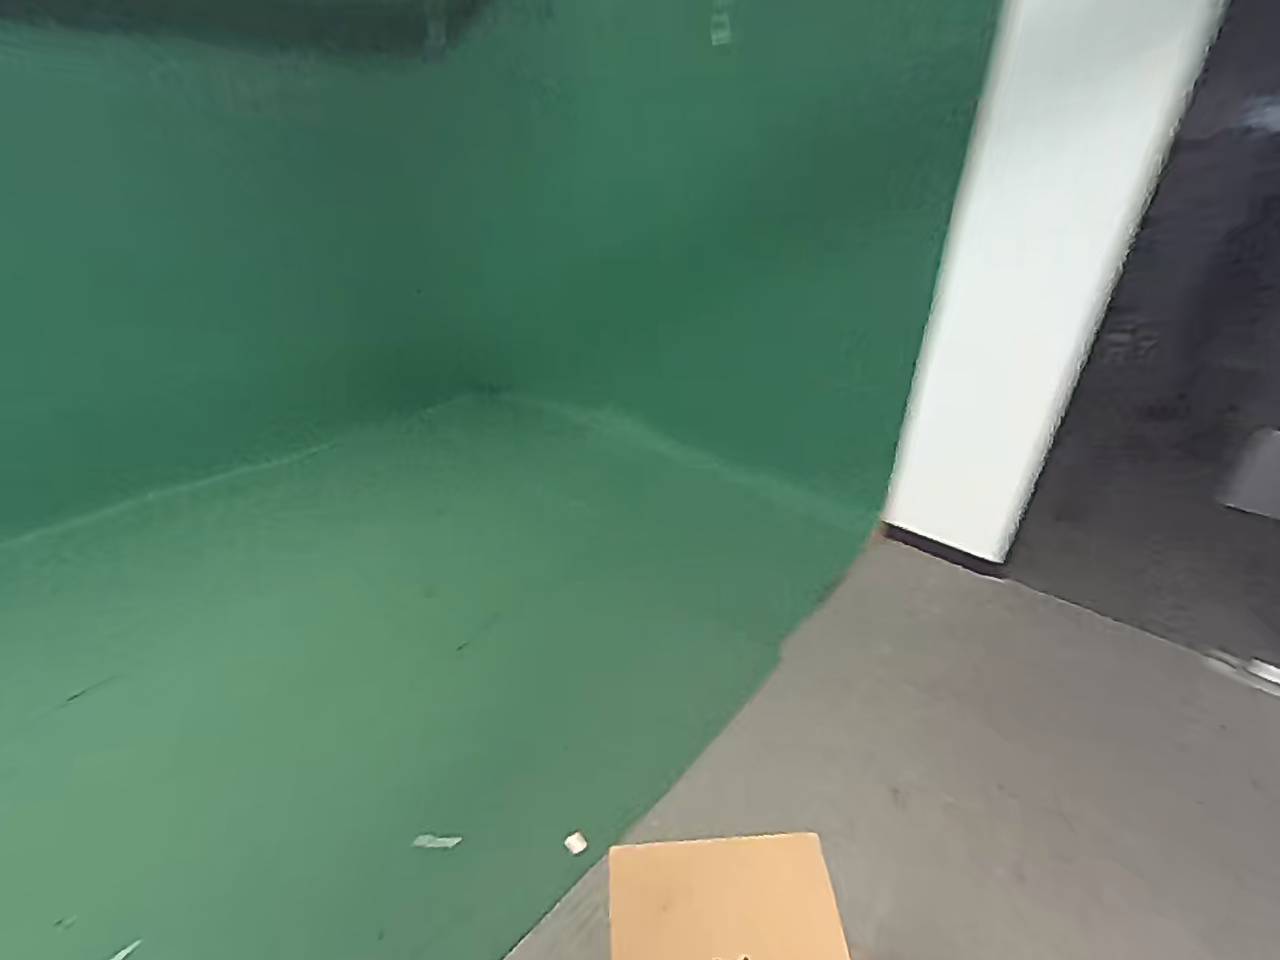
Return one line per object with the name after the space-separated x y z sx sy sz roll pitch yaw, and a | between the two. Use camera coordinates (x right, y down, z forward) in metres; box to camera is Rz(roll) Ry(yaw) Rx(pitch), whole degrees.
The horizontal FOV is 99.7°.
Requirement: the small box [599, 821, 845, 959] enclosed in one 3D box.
0.053 0.385 0.405 0.168 0.176 0.179 -2 43 -5 | small box
